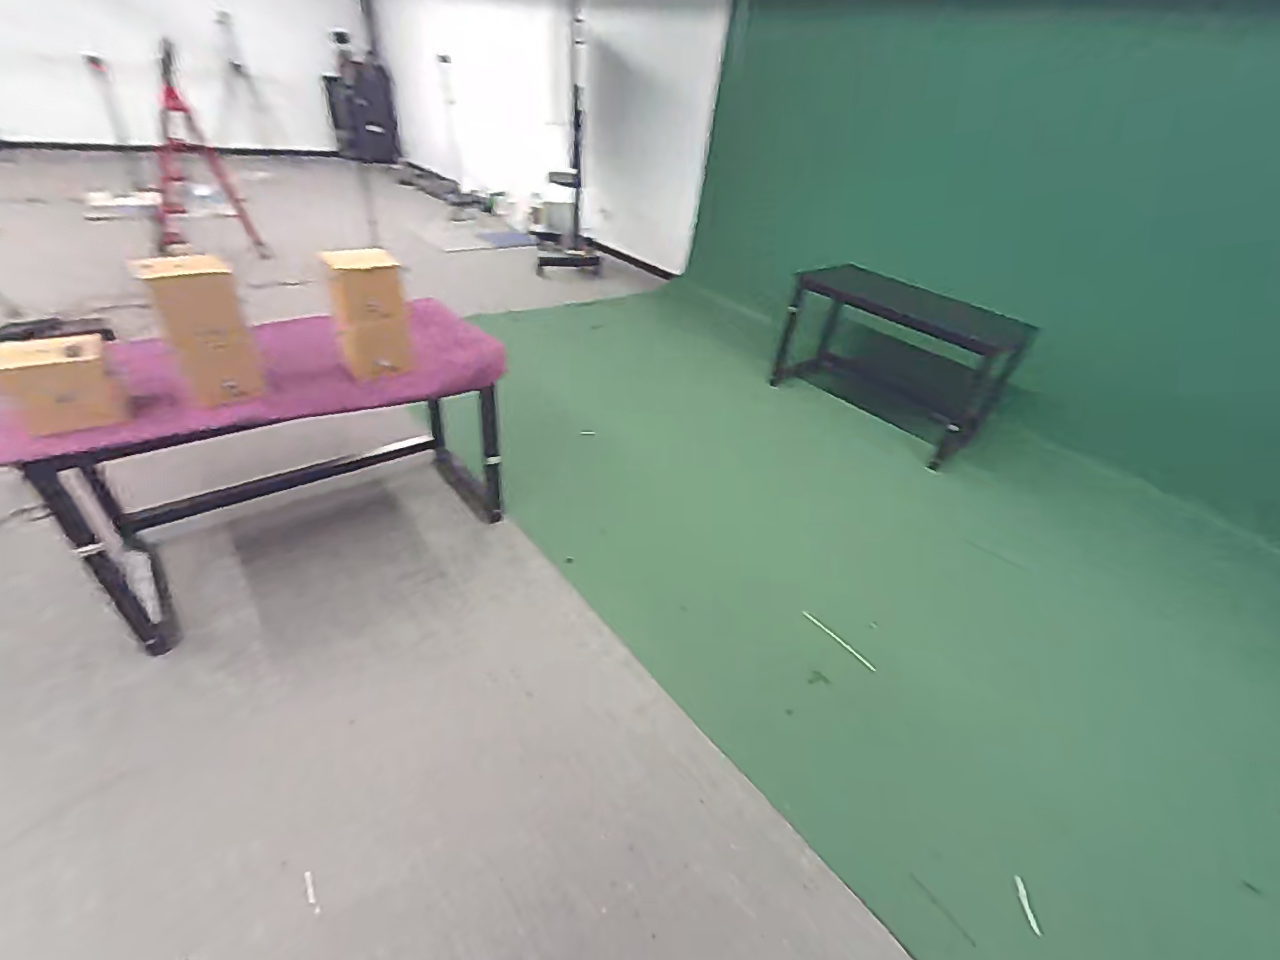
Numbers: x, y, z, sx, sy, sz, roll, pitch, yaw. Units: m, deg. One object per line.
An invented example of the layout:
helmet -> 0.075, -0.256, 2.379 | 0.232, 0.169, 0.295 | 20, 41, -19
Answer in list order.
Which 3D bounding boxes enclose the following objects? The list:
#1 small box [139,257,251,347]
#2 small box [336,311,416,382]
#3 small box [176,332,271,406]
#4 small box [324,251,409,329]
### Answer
small box -> -1.110, -0.450, 1.361 | 0.179, 0.176, 0.168 | -23, 44, -37
small box -> -0.810, -0.421, 1.666 | 0.168, 0.176, 0.179 | -22, 46, -34
small box -> -1.129, -0.319, 1.457 | 0.168, 0.176, 0.179 | -23, 45, -36
small box -> -0.793, -0.555, 1.575 | 0.168, 0.176, 0.179 | -22, 46, -35
